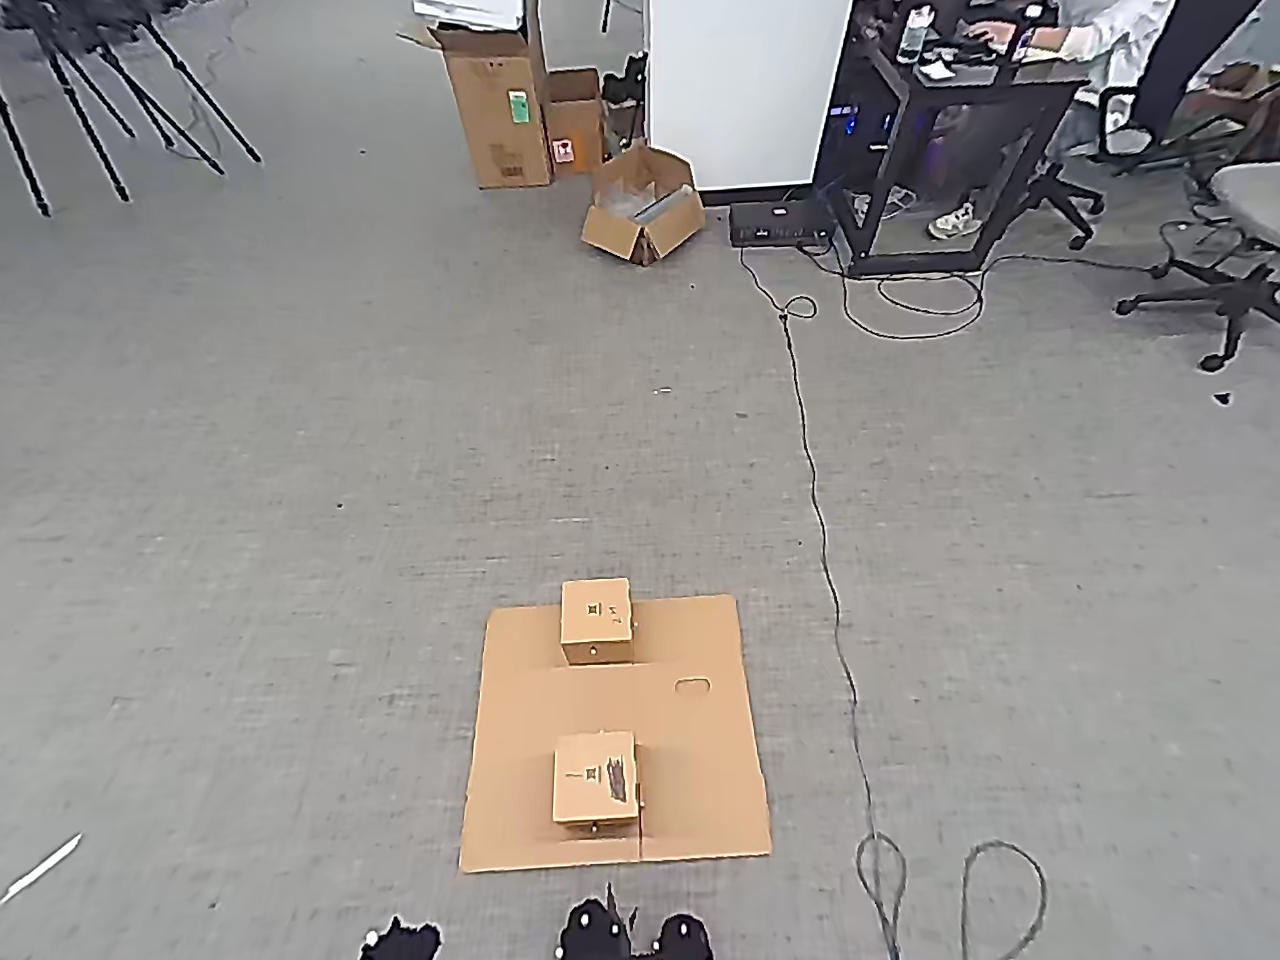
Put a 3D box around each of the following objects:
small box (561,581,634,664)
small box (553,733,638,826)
[{"bbox_3d":[-0.107,0.380,1.427,0.179,0.176,0.168,-2,55,-1],"label":"small box"},{"bbox_3d":[-0.094,0.675,1.217,0.179,0.176,0.168,-3,54,0],"label":"small box"}]
